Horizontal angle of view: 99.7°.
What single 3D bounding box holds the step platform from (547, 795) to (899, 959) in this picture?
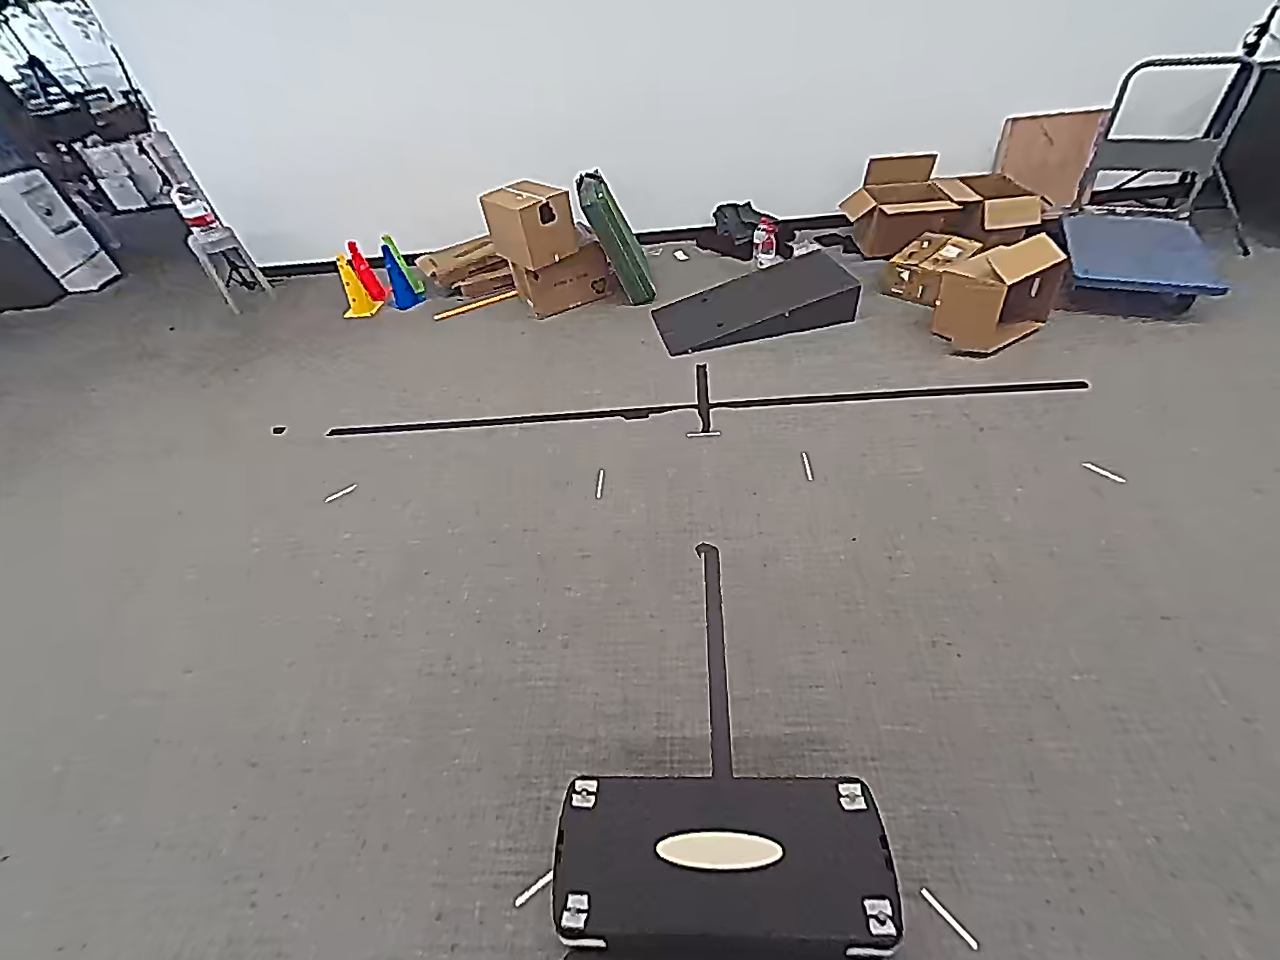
[{"bbox_3d":[0.154,0.830,1.120,0.684,0.204,0.286,-3,45,4],"label":"step platform"}]
